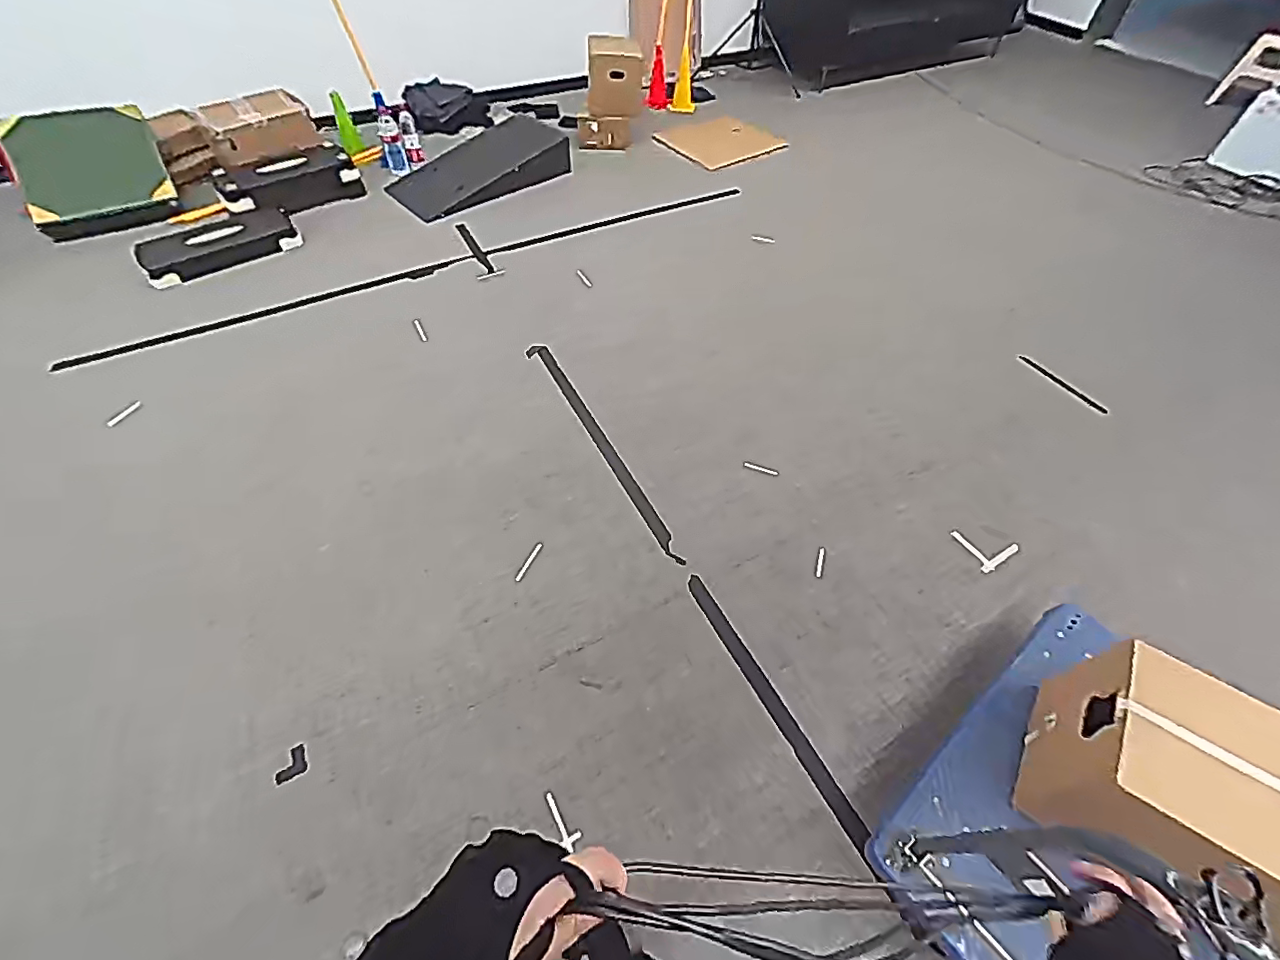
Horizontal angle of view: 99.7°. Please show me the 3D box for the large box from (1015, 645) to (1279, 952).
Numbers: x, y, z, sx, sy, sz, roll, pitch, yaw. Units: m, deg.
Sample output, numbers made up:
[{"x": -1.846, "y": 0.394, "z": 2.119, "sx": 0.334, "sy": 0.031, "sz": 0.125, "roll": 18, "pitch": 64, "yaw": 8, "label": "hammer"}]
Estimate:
[{"x": 1.026, "y": 0.595, "z": 1.026, "sx": 0.408, "sy": 0.320, "sz": 0.320, "roll": 30, "pitch": 57, "yaw": 19, "label": "large box"}]
